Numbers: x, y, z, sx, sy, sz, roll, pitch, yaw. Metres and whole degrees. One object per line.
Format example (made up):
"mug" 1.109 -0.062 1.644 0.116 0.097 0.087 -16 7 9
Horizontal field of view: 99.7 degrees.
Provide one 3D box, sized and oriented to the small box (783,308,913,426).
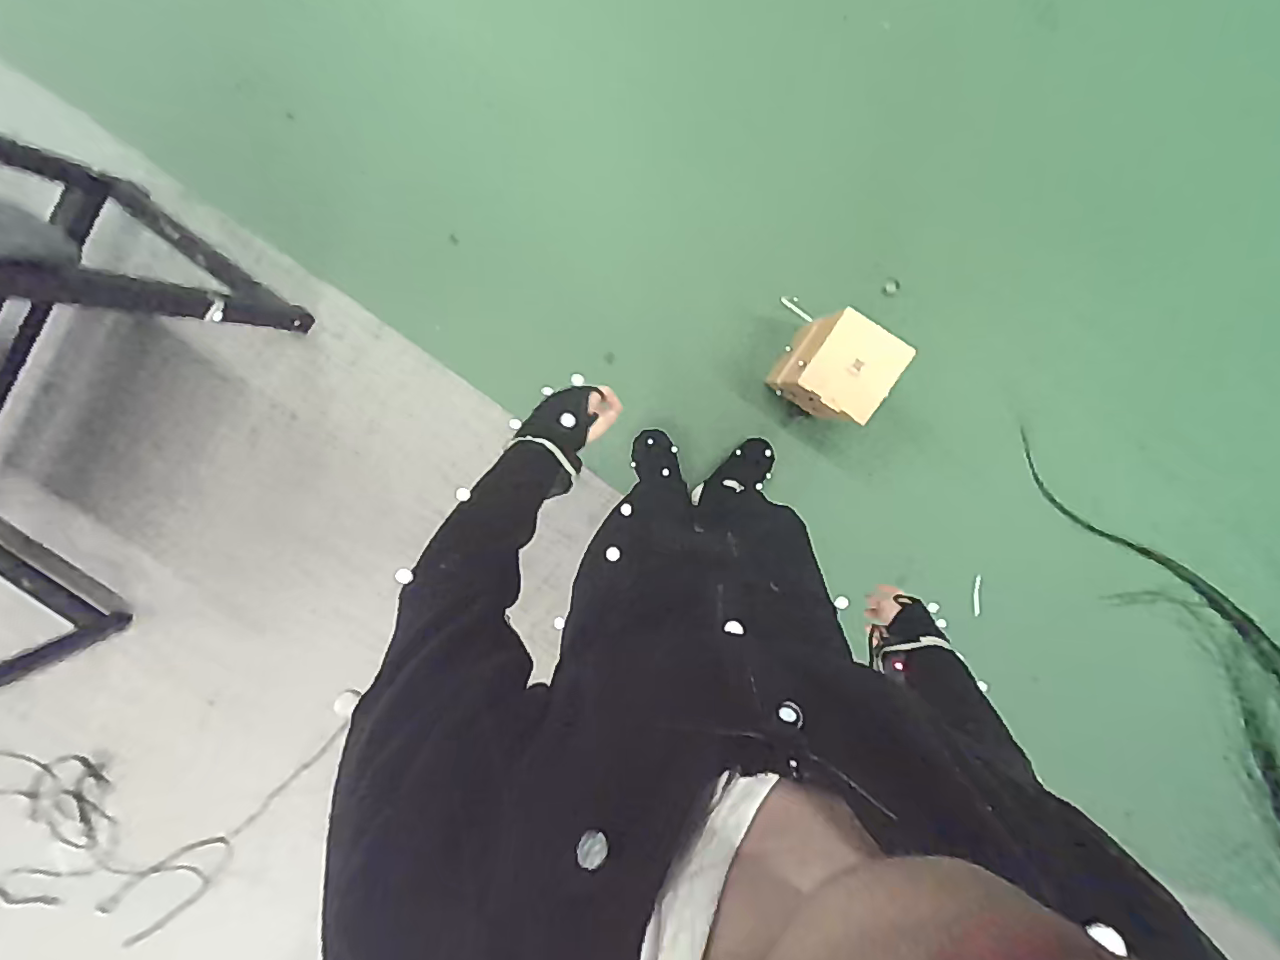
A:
"small box" 0.428 -0.238 1.151 0.168 0.176 0.179 32 101 -4
